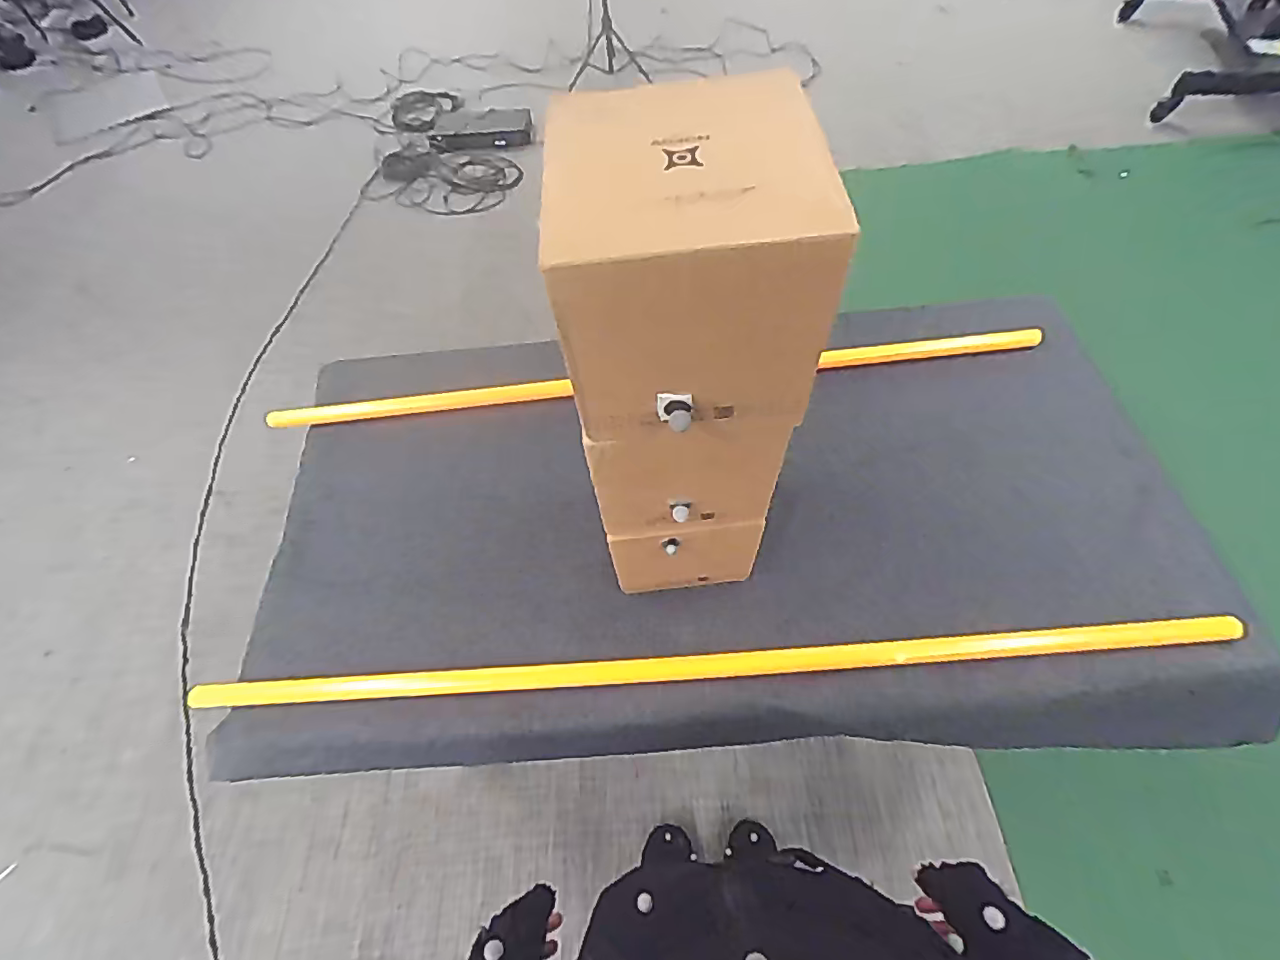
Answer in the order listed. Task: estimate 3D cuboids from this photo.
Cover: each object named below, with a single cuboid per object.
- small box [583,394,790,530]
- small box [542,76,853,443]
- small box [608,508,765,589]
[{"bbox_3d":[0.036,-0.069,0.532,0.168,0.176,0.179,-6,60,2],"label":"small box"},{"bbox_3d":[0.031,-0.149,0.392,0.168,0.176,0.179,-6,60,3],"label":"small box"},{"bbox_3d":[0.047,0.018,0.671,0.168,0.176,0.179,-7,59,1],"label":"small box"}]
